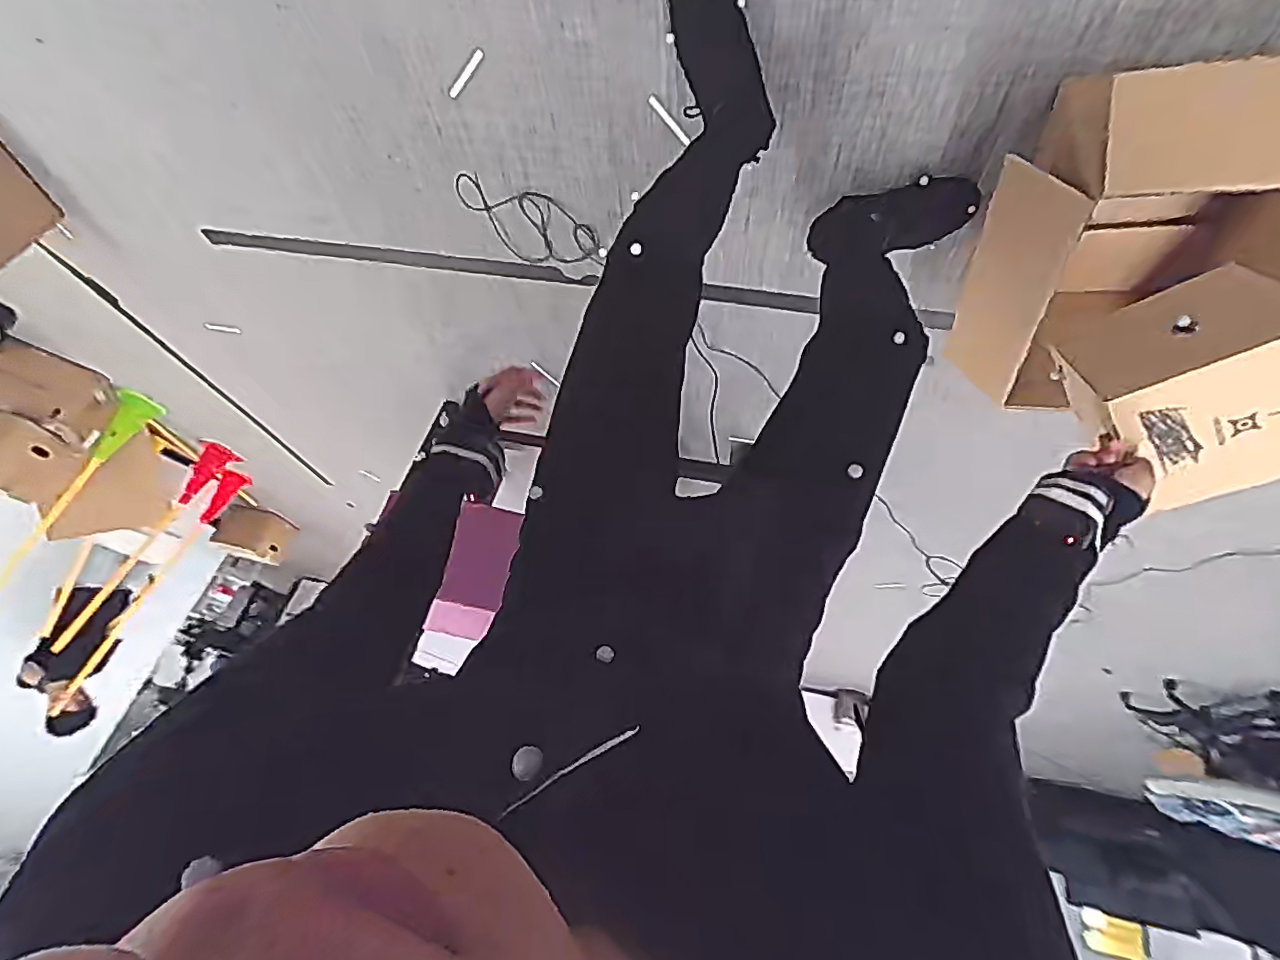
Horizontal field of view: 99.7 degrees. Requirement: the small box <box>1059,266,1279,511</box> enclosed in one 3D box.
[{"bbox_3d":[0.597,-0.101,0.590,0.179,0.176,0.168,-26,114,30],"label":"small box"}]
